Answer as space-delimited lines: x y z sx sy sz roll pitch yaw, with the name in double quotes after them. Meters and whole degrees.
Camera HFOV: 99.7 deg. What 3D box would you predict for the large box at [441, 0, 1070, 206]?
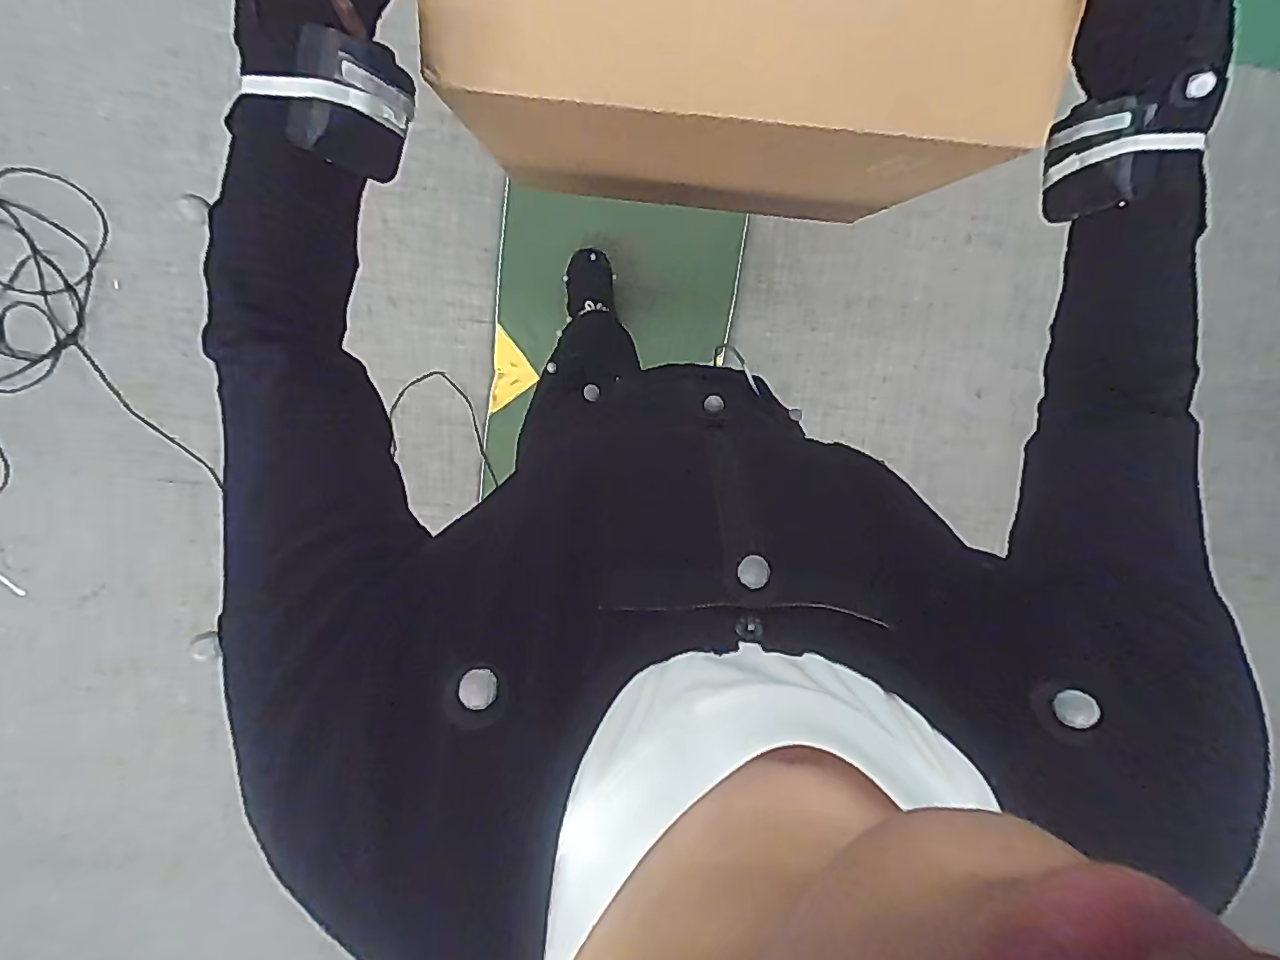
0.073 -0.437 0.451 0.408 0.320 0.320 3 108 -4 "large box"
